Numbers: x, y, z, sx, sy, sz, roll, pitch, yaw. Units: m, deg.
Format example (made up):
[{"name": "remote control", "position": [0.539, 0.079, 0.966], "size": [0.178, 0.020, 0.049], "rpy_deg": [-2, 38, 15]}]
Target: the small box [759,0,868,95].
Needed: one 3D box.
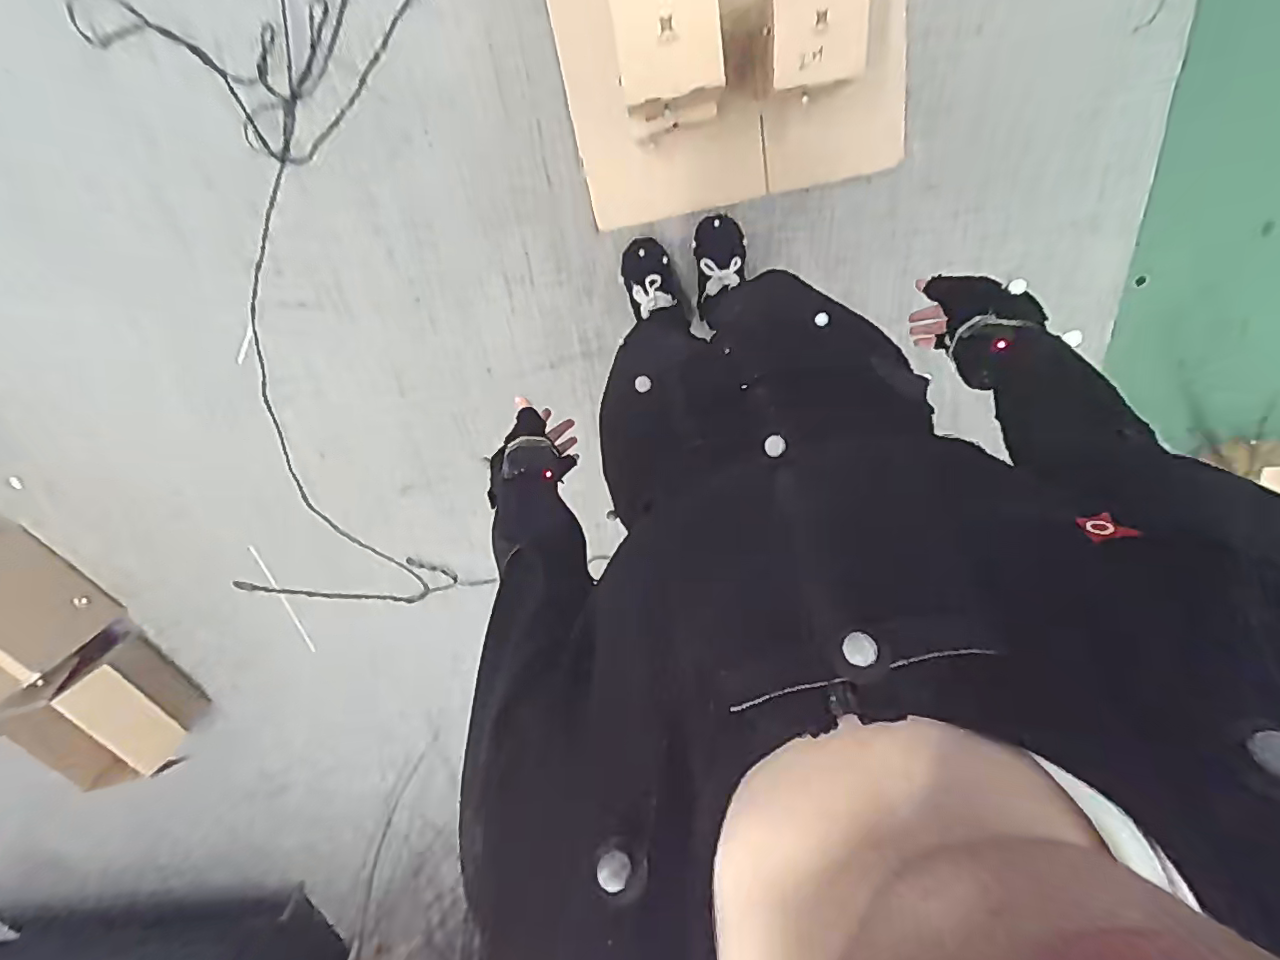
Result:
[{"name": "small box", "position": [0.319, -0.854, 1.020], "size": [0.168, 0.176, 0.179], "rpy_deg": [-5, 119, 6]}]

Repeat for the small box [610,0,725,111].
[{"name": "small box", "position": [0.042, -0.744, 0.901], "size": [0.168, 0.176, 0.179], "rpy_deg": [-9, 118, 6]}]

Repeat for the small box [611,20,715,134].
[{"name": "small box", "position": [0.049, -0.796, 1.058], "size": [0.168, 0.176, 0.179], "rpy_deg": [-11, 117, 8]}]
